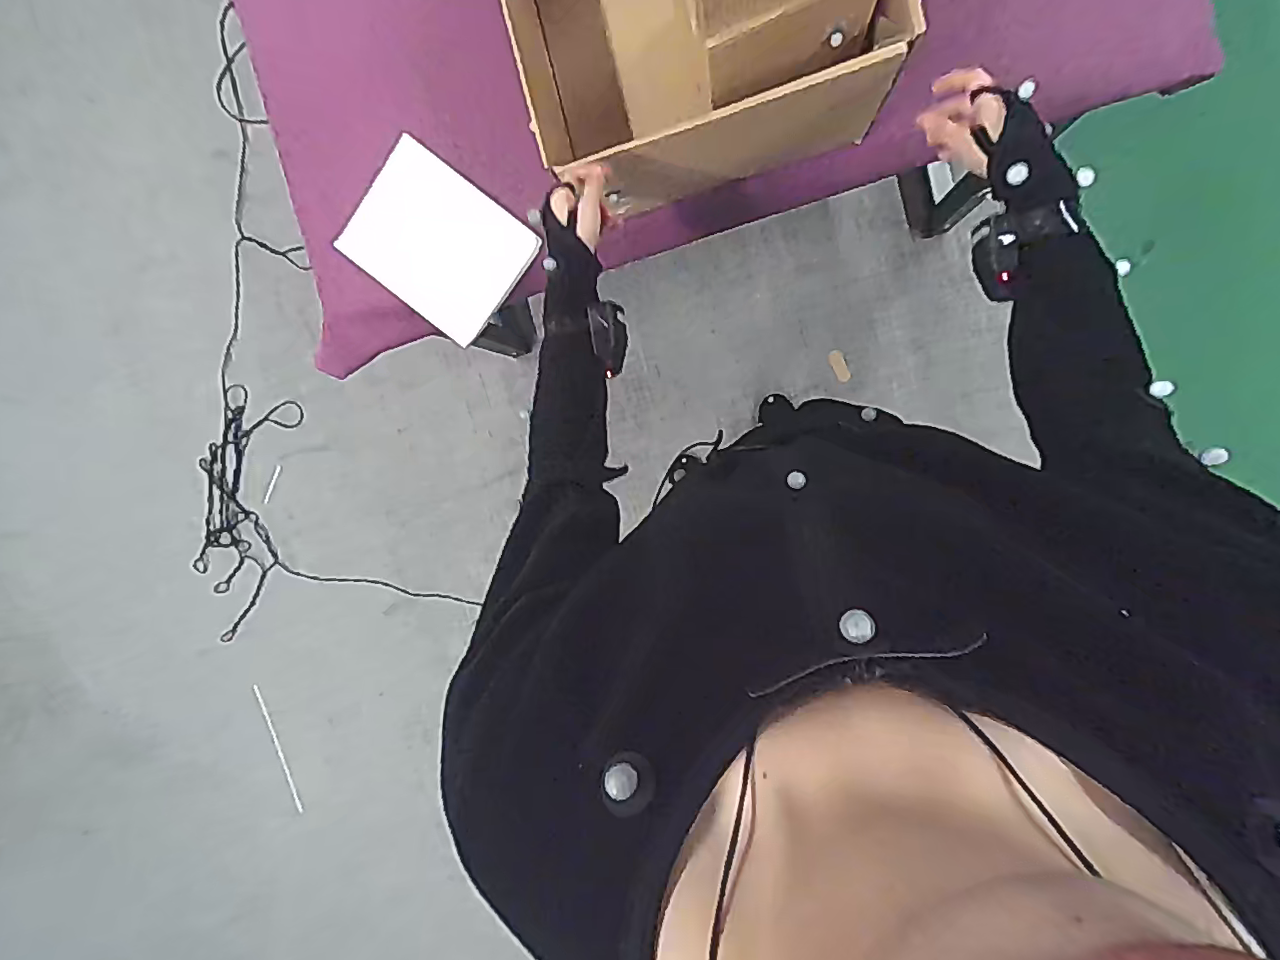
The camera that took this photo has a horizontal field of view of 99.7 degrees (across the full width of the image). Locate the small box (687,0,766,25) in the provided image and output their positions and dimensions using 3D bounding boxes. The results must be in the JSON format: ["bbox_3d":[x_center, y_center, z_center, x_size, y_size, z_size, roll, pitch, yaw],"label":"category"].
[{"bbox_3d":[0.101,-0.514,0.418,0.179,0.176,0.168,-13,93,10],"label":"small box"}]

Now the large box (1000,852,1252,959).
[{"bbox_3d":[1.211,1.218,1.319,0.408,0.320,0.320,-29,92,9],"label":"large box"}]
